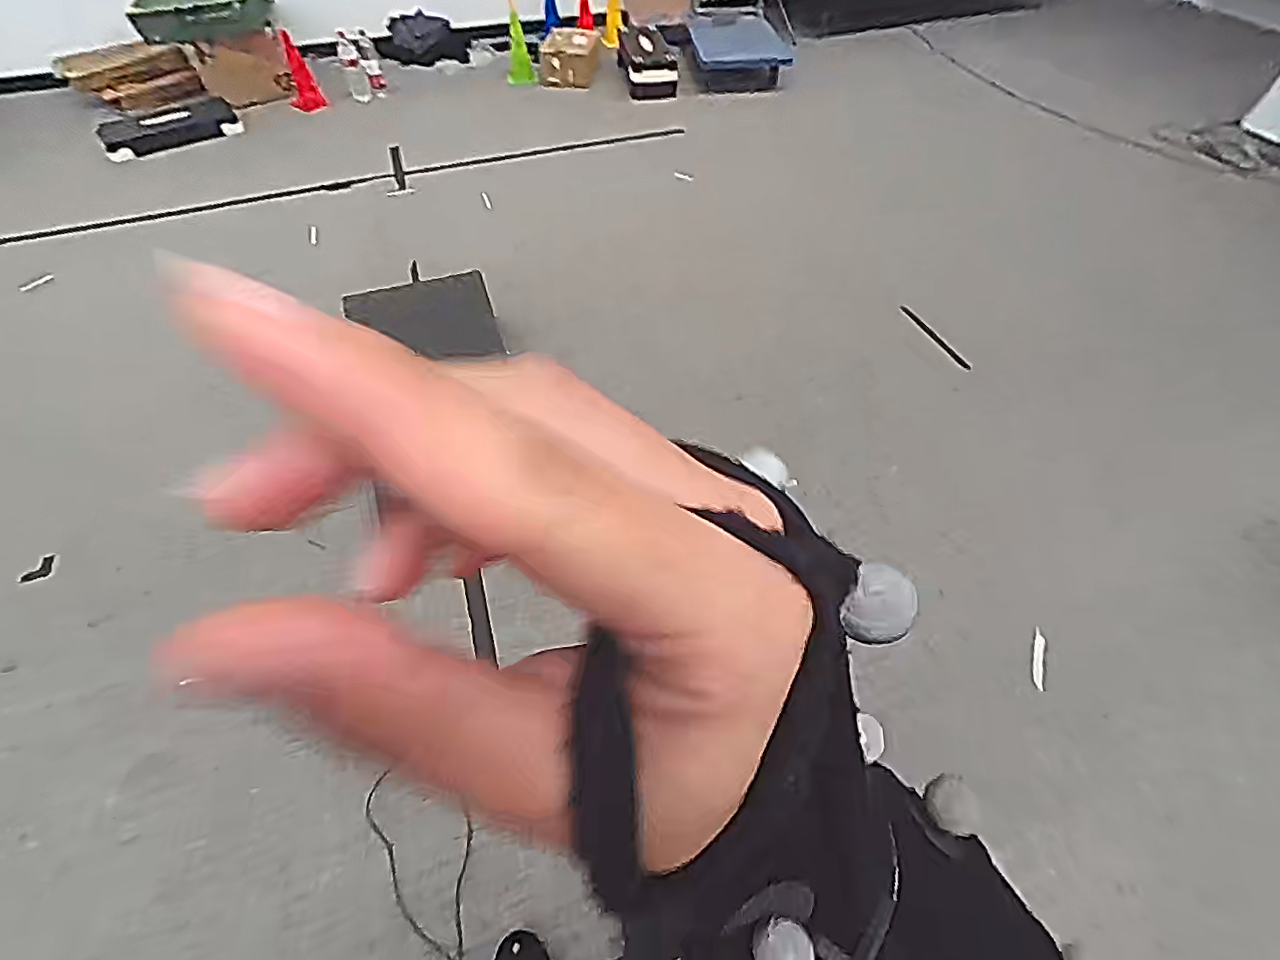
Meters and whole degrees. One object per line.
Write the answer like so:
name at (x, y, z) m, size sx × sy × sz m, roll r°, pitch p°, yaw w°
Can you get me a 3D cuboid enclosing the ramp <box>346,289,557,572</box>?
ramp at (-0.641, -0.224, 1.768) m, size 0.509 × 0.206 × 0.991 m, roll -18°, pitch 56°, yaw -14°
